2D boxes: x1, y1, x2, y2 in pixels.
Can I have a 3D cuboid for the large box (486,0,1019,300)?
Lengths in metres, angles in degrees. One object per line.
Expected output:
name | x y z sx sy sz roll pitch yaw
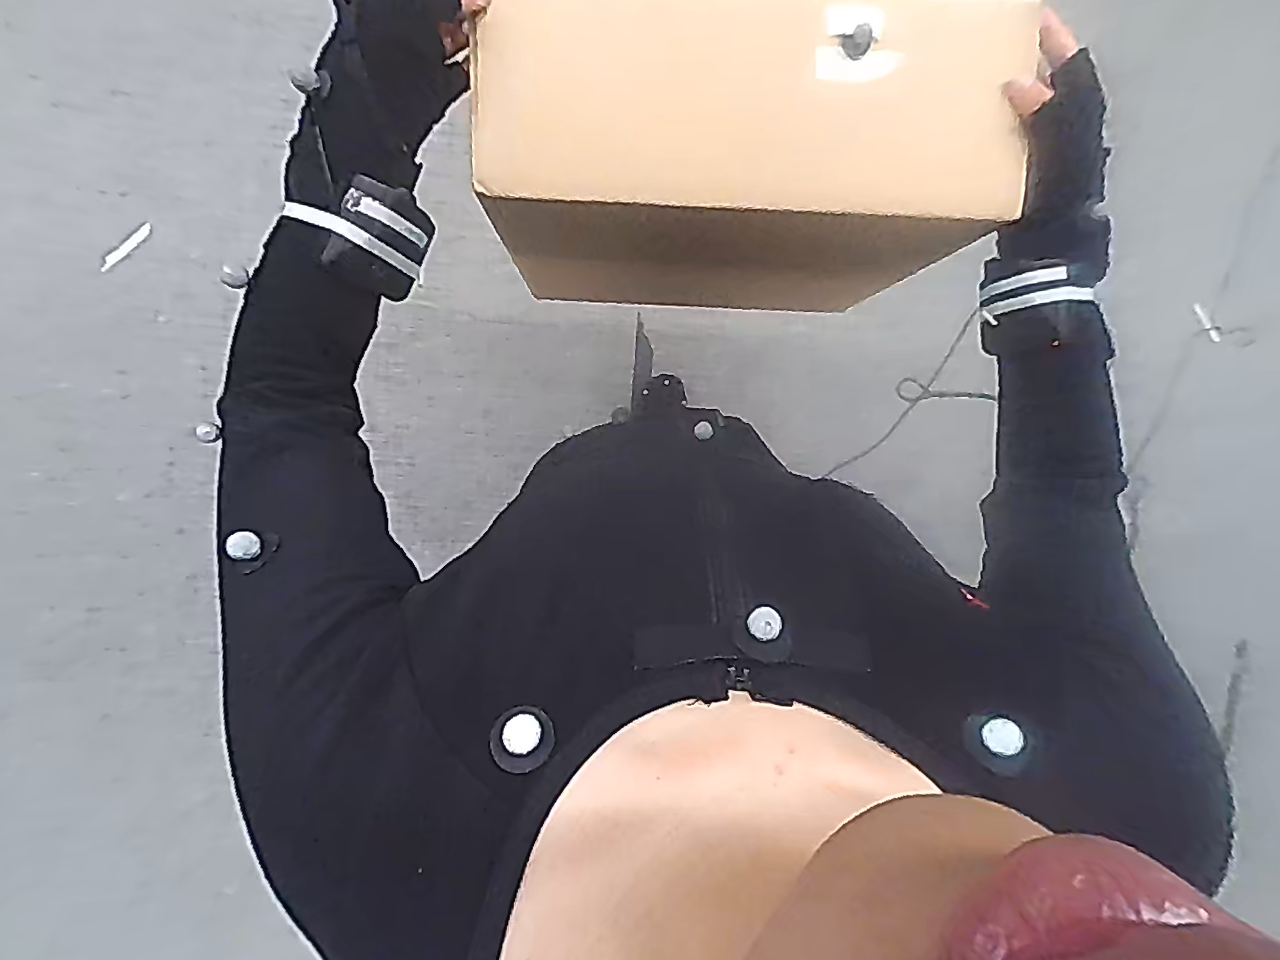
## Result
large box | 0.075 -0.377 0.542 0.408 0.320 0.320 1 95 -4
